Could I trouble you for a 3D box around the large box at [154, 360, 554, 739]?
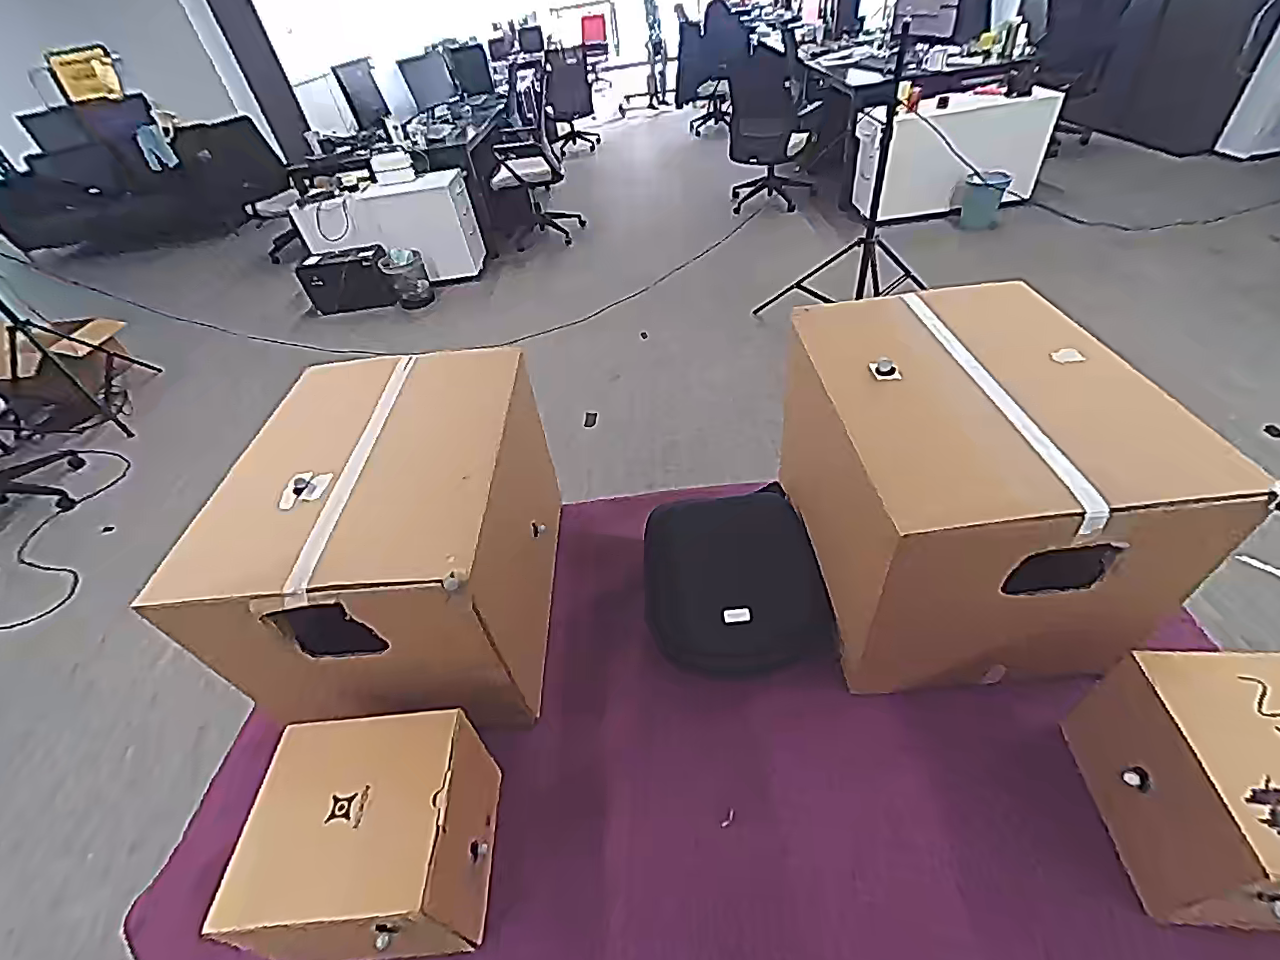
[{"bbox_3d":[-0.302,0.085,0.741,0.320,0.320,0.408,-6,45,2],"label":"large box"}]
